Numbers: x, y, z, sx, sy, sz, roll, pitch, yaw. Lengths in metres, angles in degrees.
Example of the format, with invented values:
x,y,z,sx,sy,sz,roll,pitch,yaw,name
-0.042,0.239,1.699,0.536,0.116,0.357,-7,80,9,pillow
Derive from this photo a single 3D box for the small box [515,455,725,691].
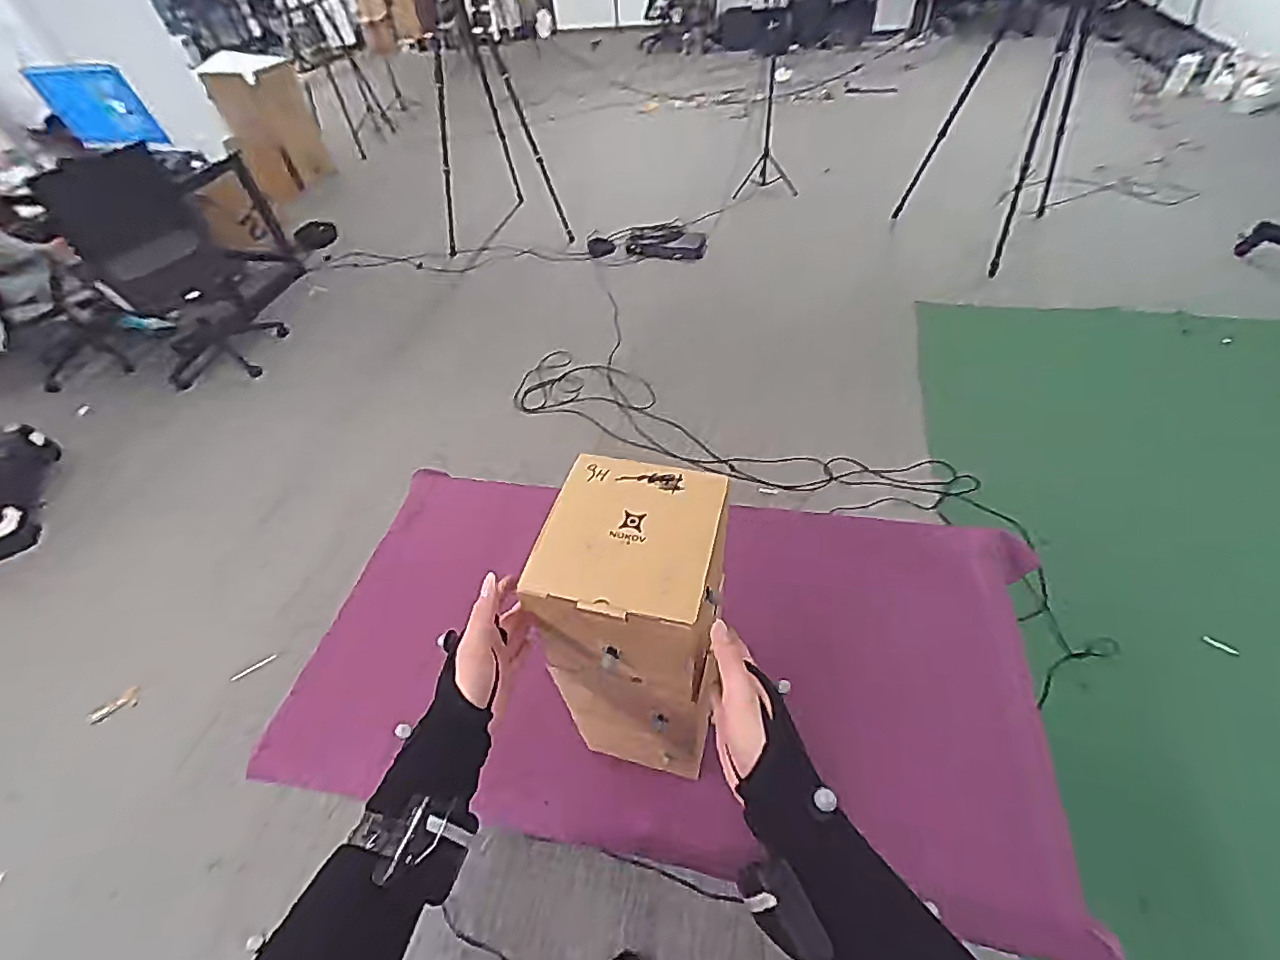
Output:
x,y,z,sx,sy,sz,roll,pitch,yaw,name
-0.007,0.101,0.578,0.168,0.176,0.179,10,51,13,small box

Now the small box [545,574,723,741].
x,y,z,sx,sy,sz,roll,pitch,yaw,name
0.004,0.214,0.695,0.179,0.176,0.168,9,50,14,small box
